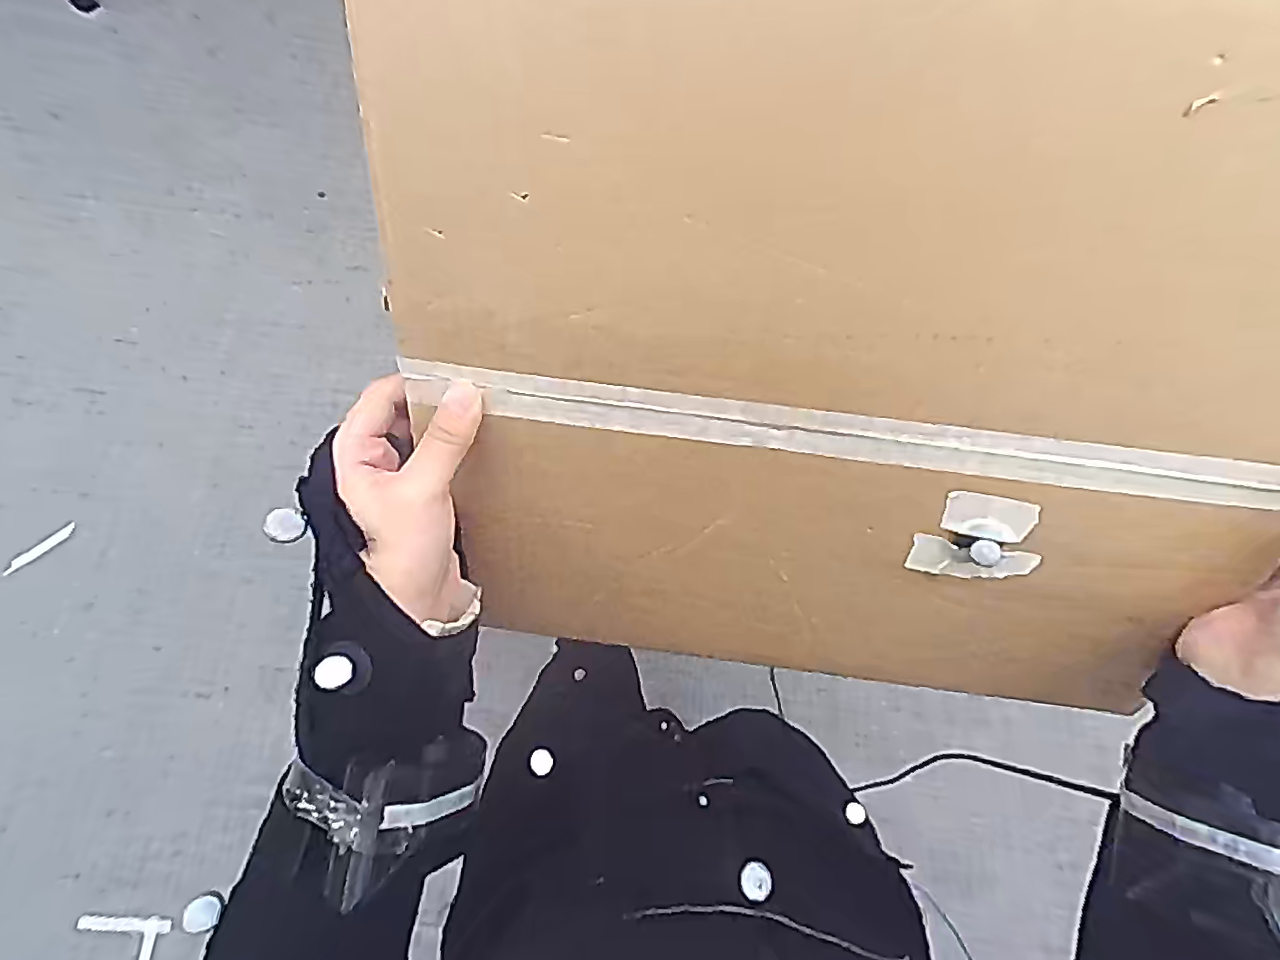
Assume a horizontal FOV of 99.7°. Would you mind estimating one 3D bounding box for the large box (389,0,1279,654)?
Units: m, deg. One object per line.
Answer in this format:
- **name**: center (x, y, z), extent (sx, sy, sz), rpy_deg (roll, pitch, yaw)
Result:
- **large box**: center (0.115, -0.128, 0.355), extent (0.408, 0.320, 0.320), rpy_deg (7, 33, 1)
